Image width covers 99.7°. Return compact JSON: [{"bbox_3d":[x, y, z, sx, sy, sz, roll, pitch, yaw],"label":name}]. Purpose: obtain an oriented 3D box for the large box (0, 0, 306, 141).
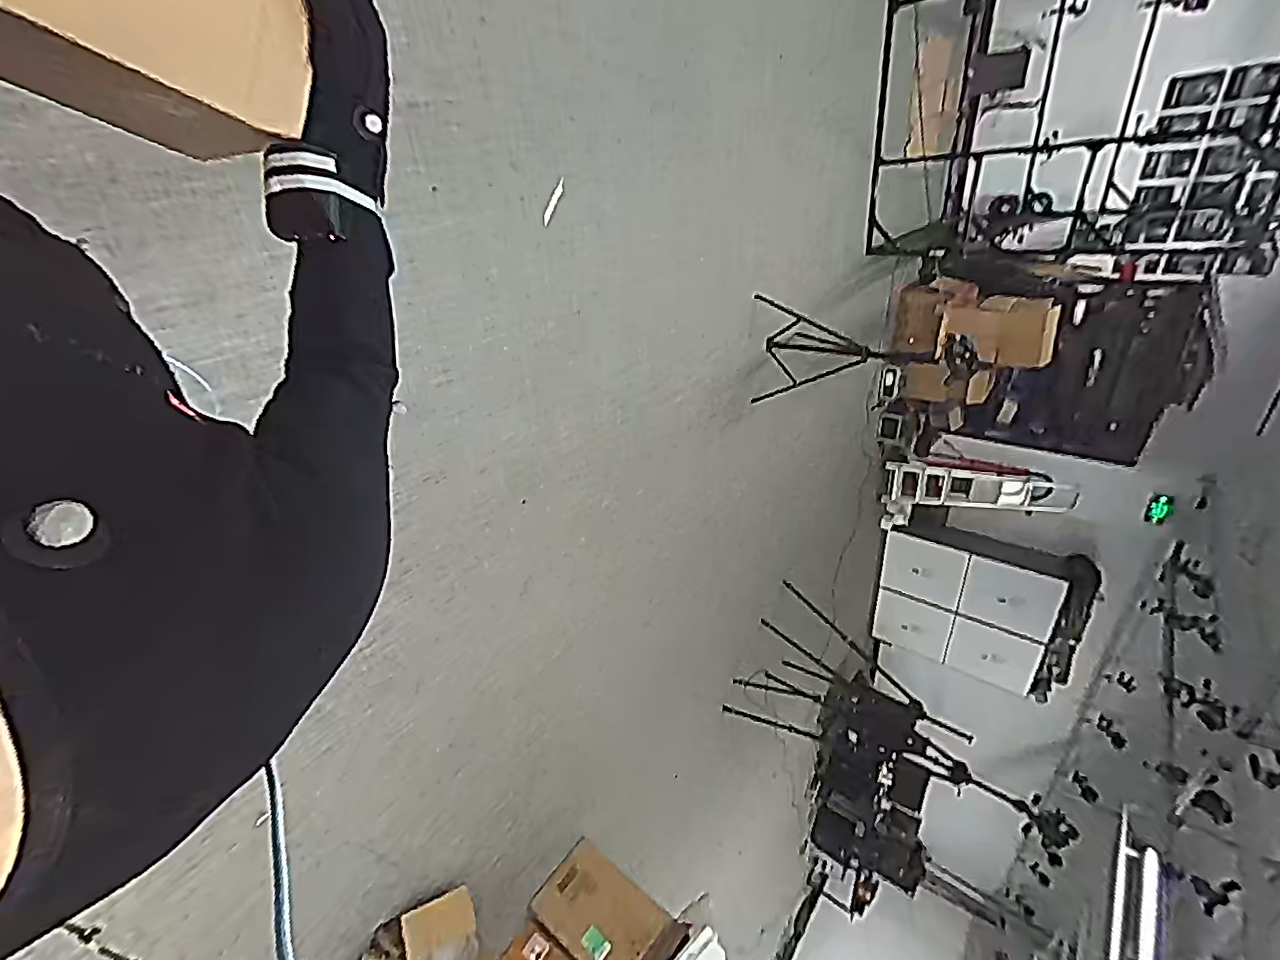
[{"bbox_3d":[-0.466,-0.472,0.326,0.408,0.320,0.320,3,107,-51],"label":"large box"}]
